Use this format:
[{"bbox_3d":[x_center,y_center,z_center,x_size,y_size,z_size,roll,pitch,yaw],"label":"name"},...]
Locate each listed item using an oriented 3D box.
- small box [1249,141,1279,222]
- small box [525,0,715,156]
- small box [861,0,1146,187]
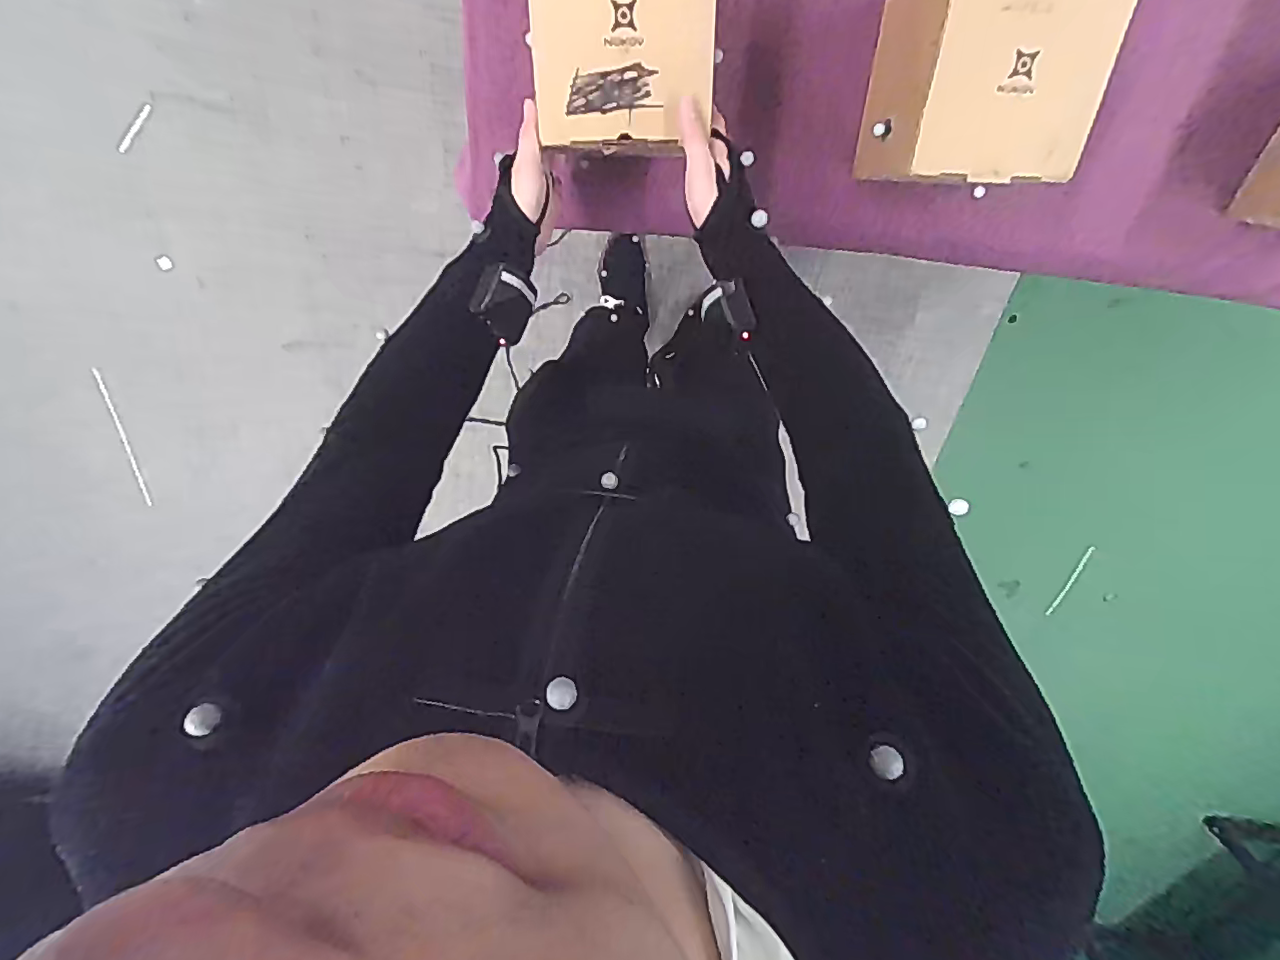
[{"bbox_3d":[0.835,-0.355,0.573,0.168,0.176,0.179,10,118,-4],"label":"small box"},{"bbox_3d":[-0.016,-0.430,0.541,0.168,0.176,0.179,-1,117,1],"label":"small box"},{"bbox_3d":[0.348,-0.406,0.556,0.168,0.176,0.179,2,118,-1],"label":"small box"}]
